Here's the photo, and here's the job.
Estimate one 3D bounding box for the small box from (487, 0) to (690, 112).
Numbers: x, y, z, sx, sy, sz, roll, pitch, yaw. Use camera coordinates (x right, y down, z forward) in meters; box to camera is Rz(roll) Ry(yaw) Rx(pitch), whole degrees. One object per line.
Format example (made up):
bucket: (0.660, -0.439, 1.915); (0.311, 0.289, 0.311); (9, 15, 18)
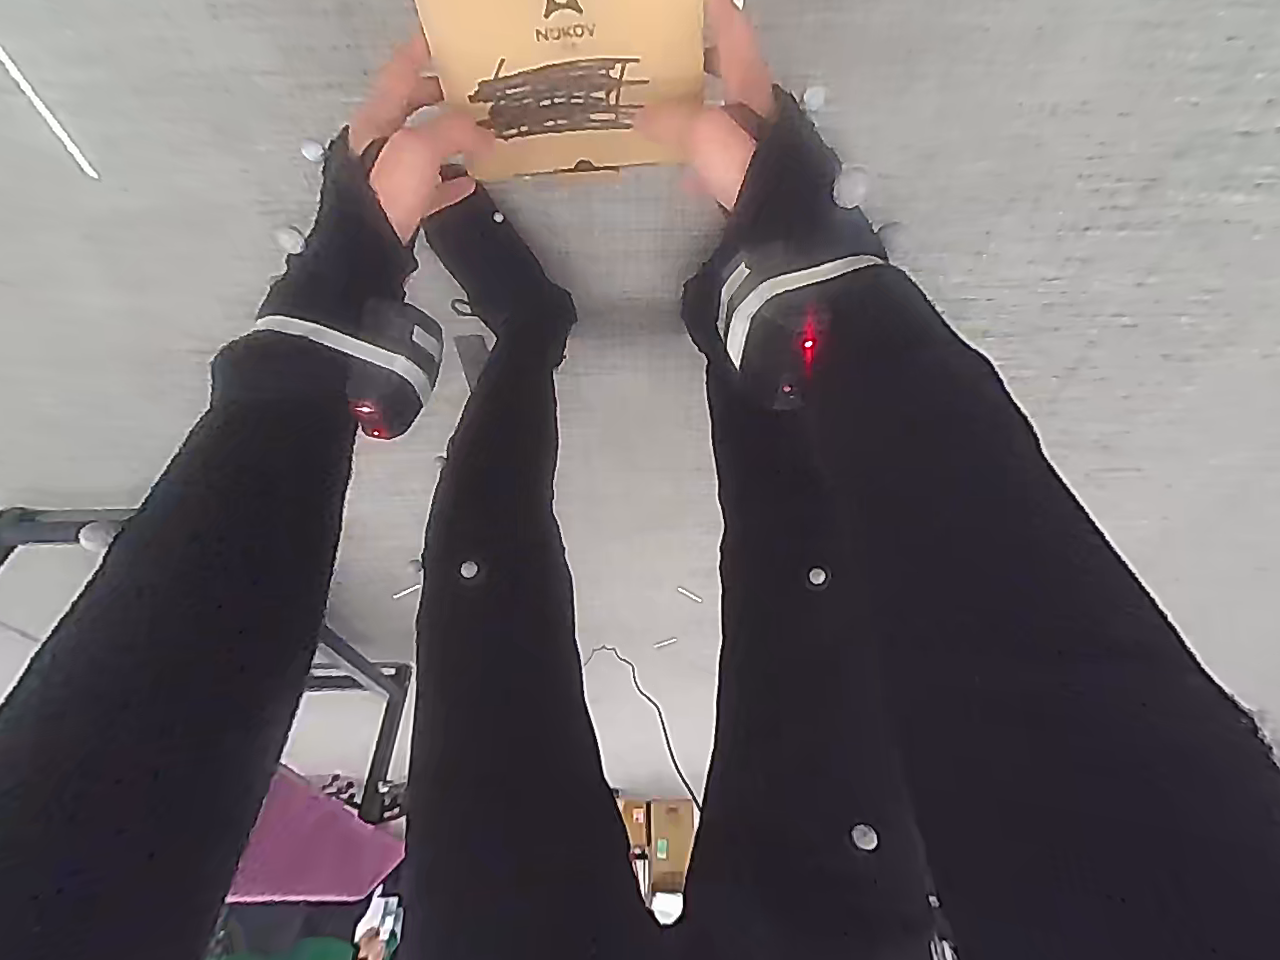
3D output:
small box: (-0.043, -0.455, 0.469); (0.168, 0.176, 0.179); (-2, 143, 3)
